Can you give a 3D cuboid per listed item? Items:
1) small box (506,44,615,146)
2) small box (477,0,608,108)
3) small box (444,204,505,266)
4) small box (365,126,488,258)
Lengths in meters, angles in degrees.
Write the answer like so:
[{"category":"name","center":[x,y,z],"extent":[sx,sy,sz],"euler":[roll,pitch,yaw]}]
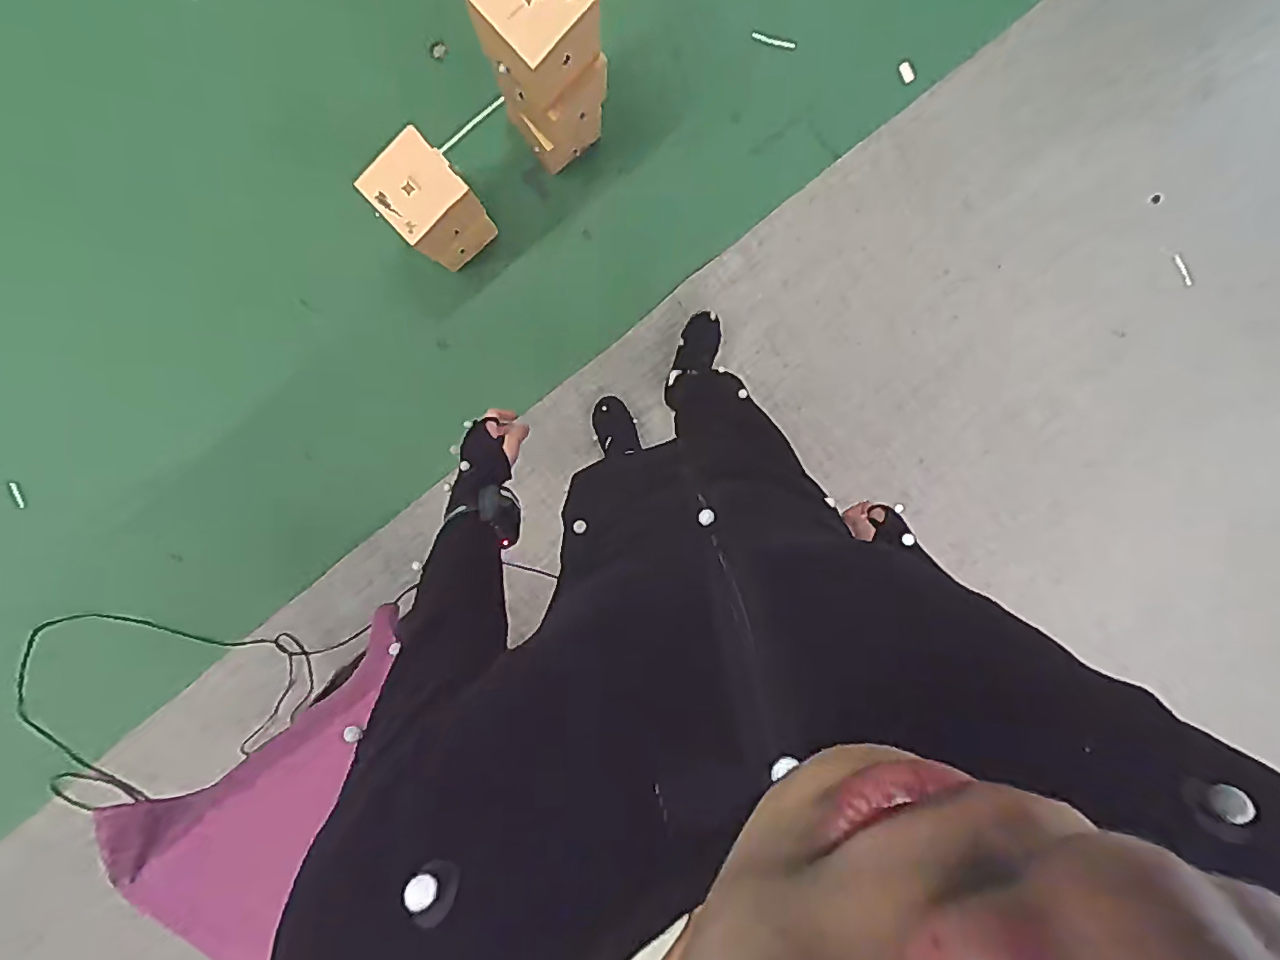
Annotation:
[{"category":"small box","center":[-0.173,-0.879,1.176],"extent":[0.179,0.176,0.168],"euler":[42,97,-10]},{"category":"small box","center":[-0.178,-0.857,1.012],"extent":[0.179,0.176,0.168],"euler":[-45,100,6]},{"category":"small box","center":[-0.467,-0.667,1.372],"extent":[0.168,0.176,0.179],"euler":[-39,100,6]},{"category":"small box","center":[-0.463,-0.633,1.211],"extent":[0.179,0.176,0.168],"euler":[-42,100,5]}]
